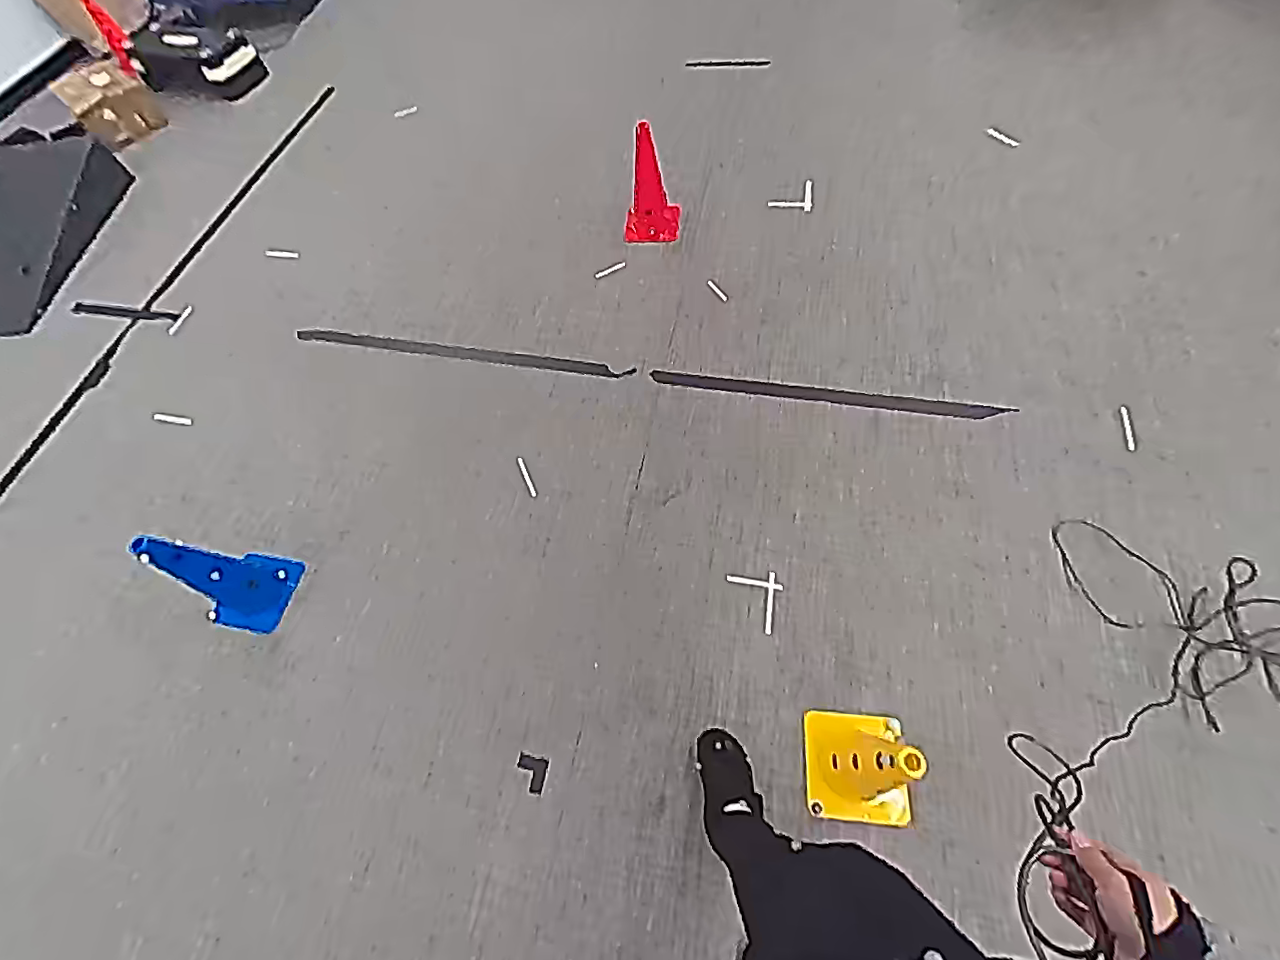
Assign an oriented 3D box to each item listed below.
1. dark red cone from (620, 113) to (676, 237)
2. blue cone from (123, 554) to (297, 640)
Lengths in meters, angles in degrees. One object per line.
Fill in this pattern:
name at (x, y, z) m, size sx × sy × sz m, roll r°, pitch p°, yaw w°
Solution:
dark red cone at (0.013, -1.043, 1.854) m, size 0.202 × 0.394 × 0.201 m, roll 1°, pitch 63°, yaw 8°
blue cone at (-1.052, 0.249, 1.311) m, size 0.193 × 0.380 × 0.192 m, roll 8°, pitch 64°, yaw 12°
